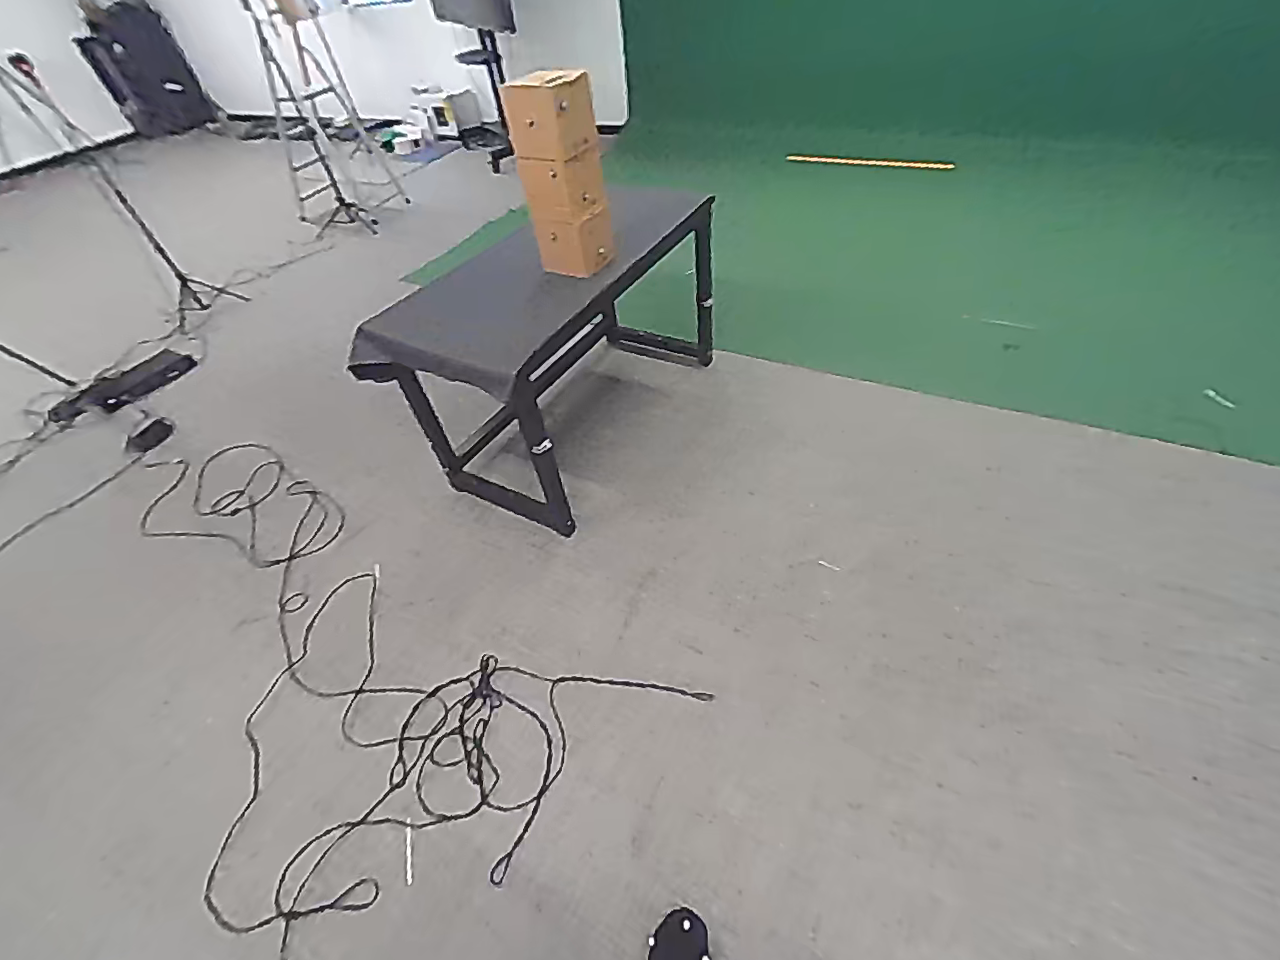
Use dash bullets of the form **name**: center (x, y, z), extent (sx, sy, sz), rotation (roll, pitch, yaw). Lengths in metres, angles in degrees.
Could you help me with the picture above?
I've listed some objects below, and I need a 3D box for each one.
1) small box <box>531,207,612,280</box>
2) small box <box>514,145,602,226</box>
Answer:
- **small box**: center (-0.210, -0.748, 1.699), extent (0.179, 0.176, 0.168), rotation (19, 53, 25)
- **small box**: center (-0.234, -0.864, 1.589), extent (0.179, 0.176, 0.168), rotation (20, 52, 25)
